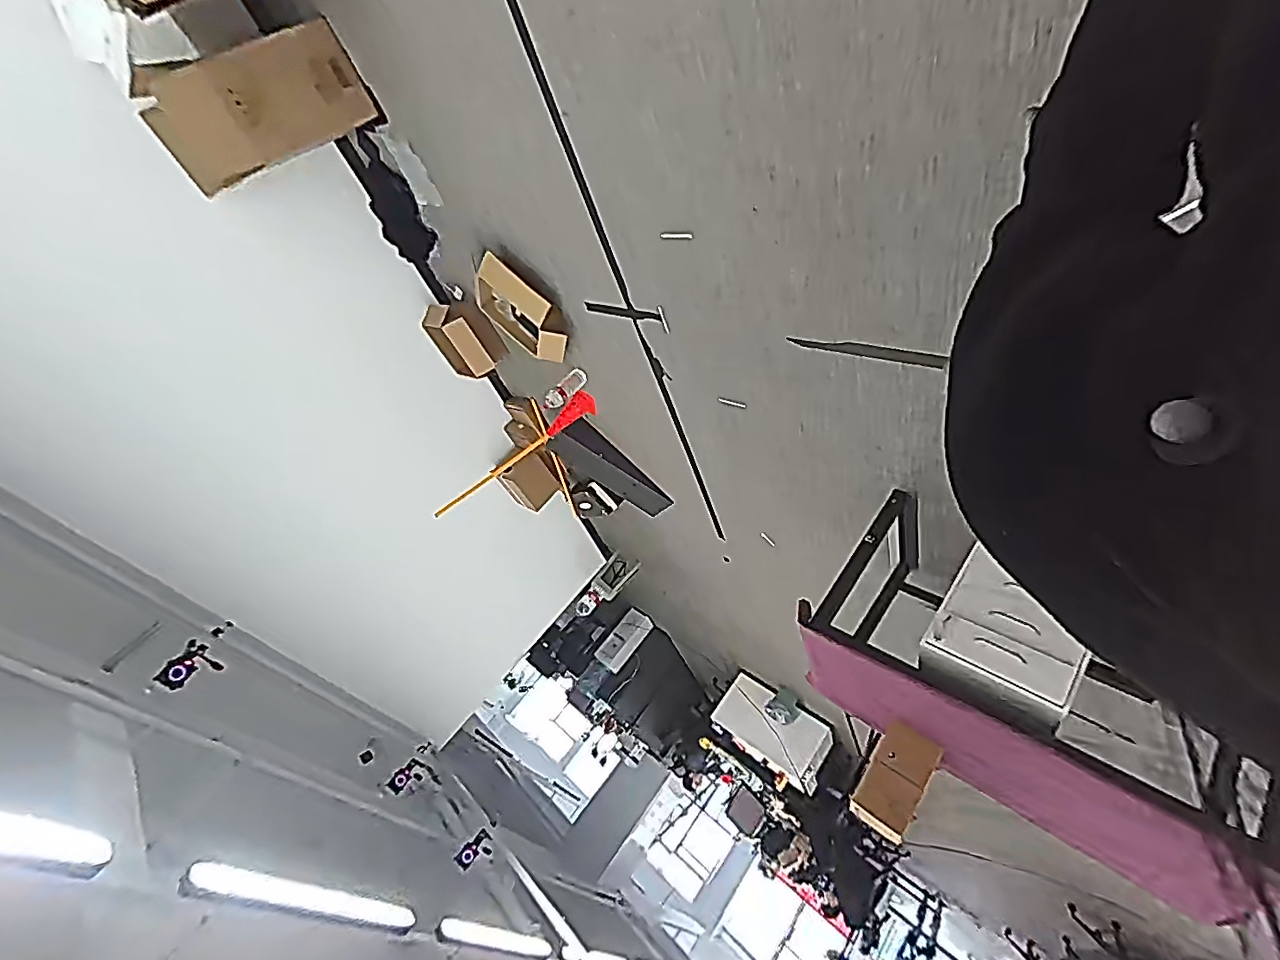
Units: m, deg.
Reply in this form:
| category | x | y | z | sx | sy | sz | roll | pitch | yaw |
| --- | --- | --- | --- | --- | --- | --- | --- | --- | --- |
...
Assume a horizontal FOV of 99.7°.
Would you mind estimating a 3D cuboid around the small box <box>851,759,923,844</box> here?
| category | x | y | z | sx | sy | sz | roll | pitch | yaw |
| --- | --- | --- | --- | --- | --- | --- | --- | --- | --- |
| small box | 0.852 | 1.106 | 1.866 | 0.179 | 0.176 | 0.168 | 25 | 151 | 35 |

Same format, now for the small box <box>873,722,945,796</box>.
| category | x | y | z | sx | sy | sz | roll | pitch | yaw |
| --- | --- | --- | --- | --- | --- | --- | --- | --- | --- |
| small box | 0.954 | 0.993 | 1.928 | 0.179 | 0.176 | 0.168 | 25 | 151 | 37 |
